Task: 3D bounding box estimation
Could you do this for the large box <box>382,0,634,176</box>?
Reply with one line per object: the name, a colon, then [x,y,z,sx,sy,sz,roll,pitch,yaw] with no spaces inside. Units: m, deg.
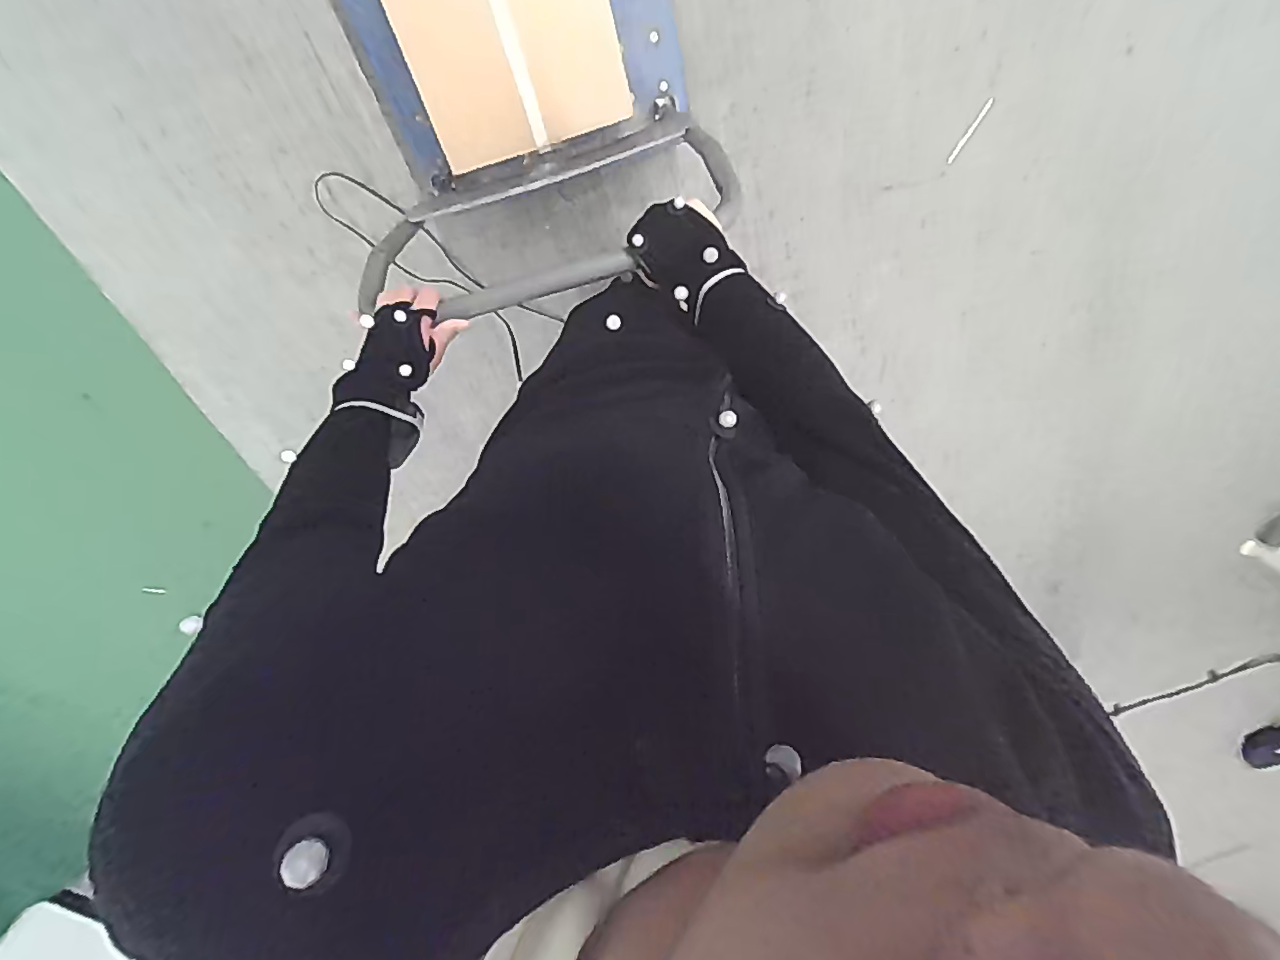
large box: [-0.218,-0.778,0.885,0.320,0.320,0.408,-16,125,6]
